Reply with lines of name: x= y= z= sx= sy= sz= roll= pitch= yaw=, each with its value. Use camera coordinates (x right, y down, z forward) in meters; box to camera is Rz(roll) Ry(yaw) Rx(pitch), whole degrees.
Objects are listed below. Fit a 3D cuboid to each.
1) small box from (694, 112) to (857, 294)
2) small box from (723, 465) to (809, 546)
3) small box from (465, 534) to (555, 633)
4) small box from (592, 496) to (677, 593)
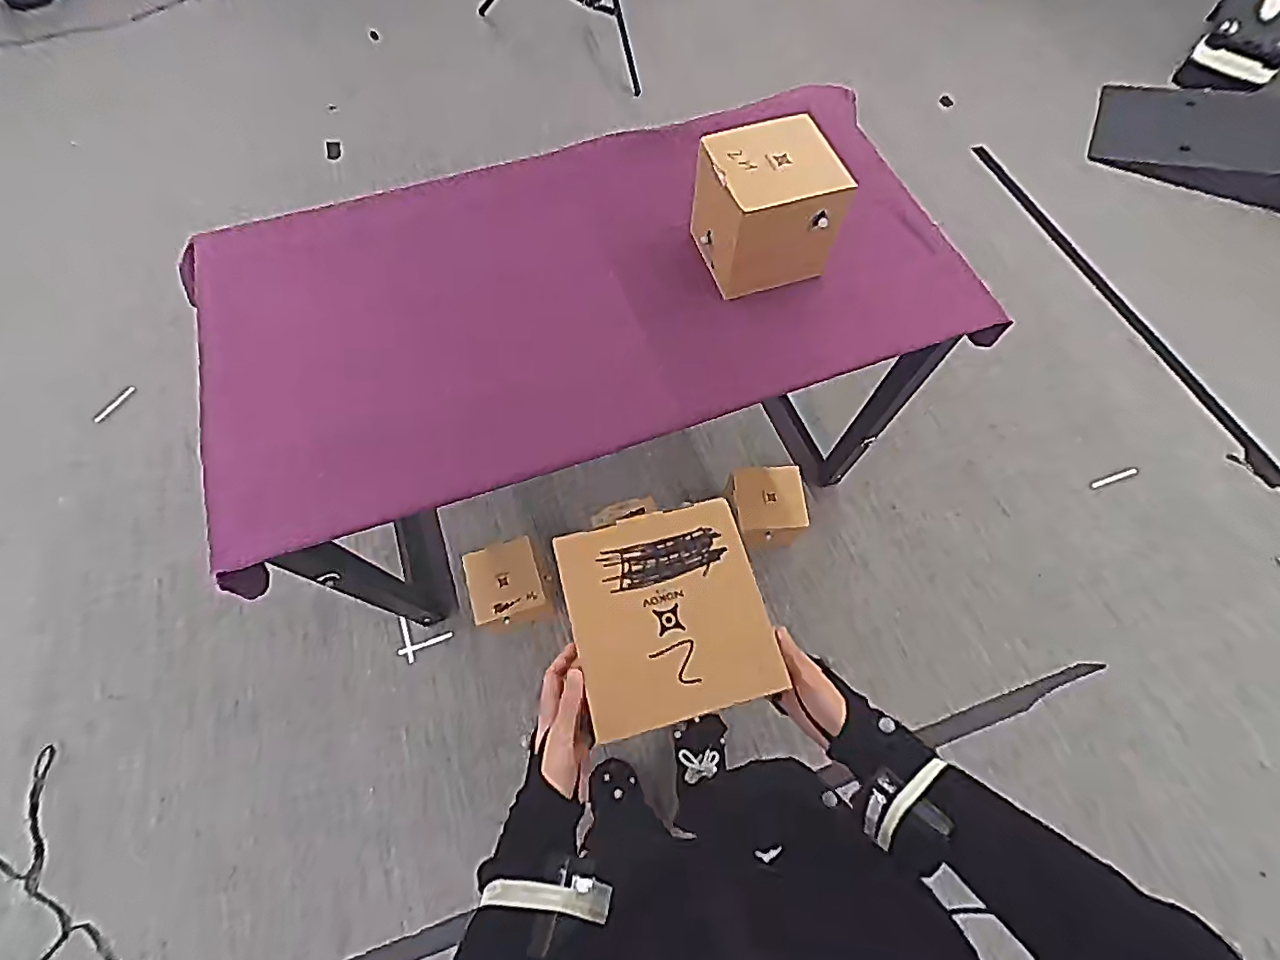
small box: x=0.195 y=-0.419 z=0.836 sx=0.179 sy=0.176 sz=0.168 roll=-17 pitch=67 yaw=-6
small box: x=0.324 y=0.071 z=1.421 sx=0.179 sy=0.176 sz=0.168 roll=-3 pitch=67 yaw=0
small box: x=-0.317 y=0.260 z=1.338 sx=0.168 sy=0.176 sz=0.179 roll=-16 pitch=66 yaw=-7
small box: x=-0.017 y=0.168 z=1.378 sx=0.168 sy=0.176 sz=0.179 roll=-19 pitch=69 yaw=-8
